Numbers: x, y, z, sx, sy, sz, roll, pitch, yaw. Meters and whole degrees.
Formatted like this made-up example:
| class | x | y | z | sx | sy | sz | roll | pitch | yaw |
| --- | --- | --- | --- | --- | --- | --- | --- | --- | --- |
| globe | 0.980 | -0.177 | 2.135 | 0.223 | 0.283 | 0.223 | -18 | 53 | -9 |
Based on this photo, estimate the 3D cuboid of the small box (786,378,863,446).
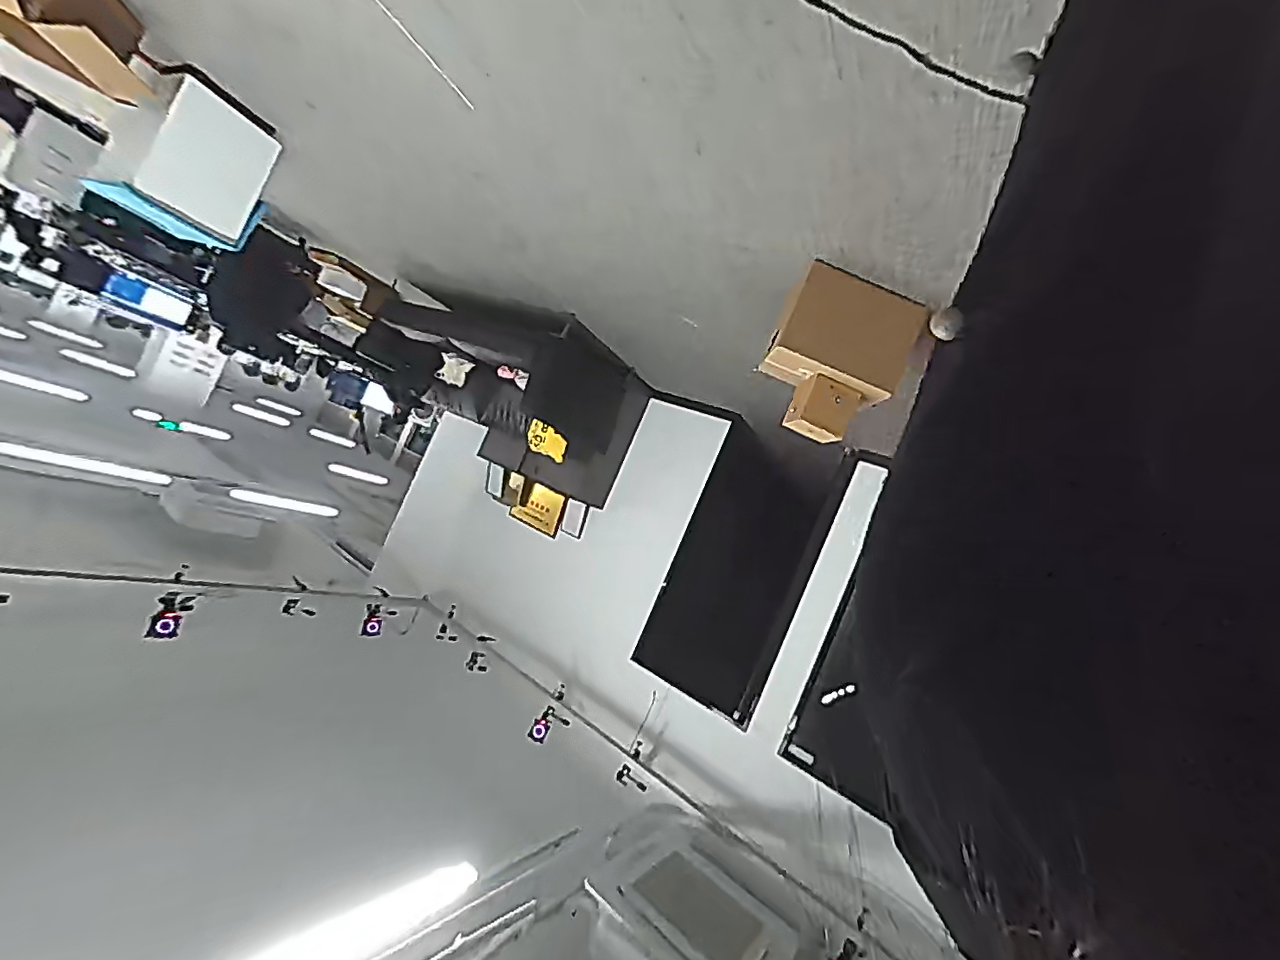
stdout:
| class | x | y | z | sx | sy | sz | roll | pitch | yaw |
| --- | --- | --- | --- | --- | --- | --- | --- | --- | --- |
| small box | 0.633 | -0.230 | 1.854 | 0.168 | 0.176 | 0.179 | 24 | 178 | -2 |

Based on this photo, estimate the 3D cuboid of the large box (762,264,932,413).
| class | x | y | z | sx | sy | sz | roll | pitch | yaw |
| --- | --- | --- | --- | --- | --- | --- | --- | --- | --- |
| large box | 0.693 | -0.470 | 1.858 | 0.408 | 0.320 | 0.320 | 25 | 177 | 2 |
